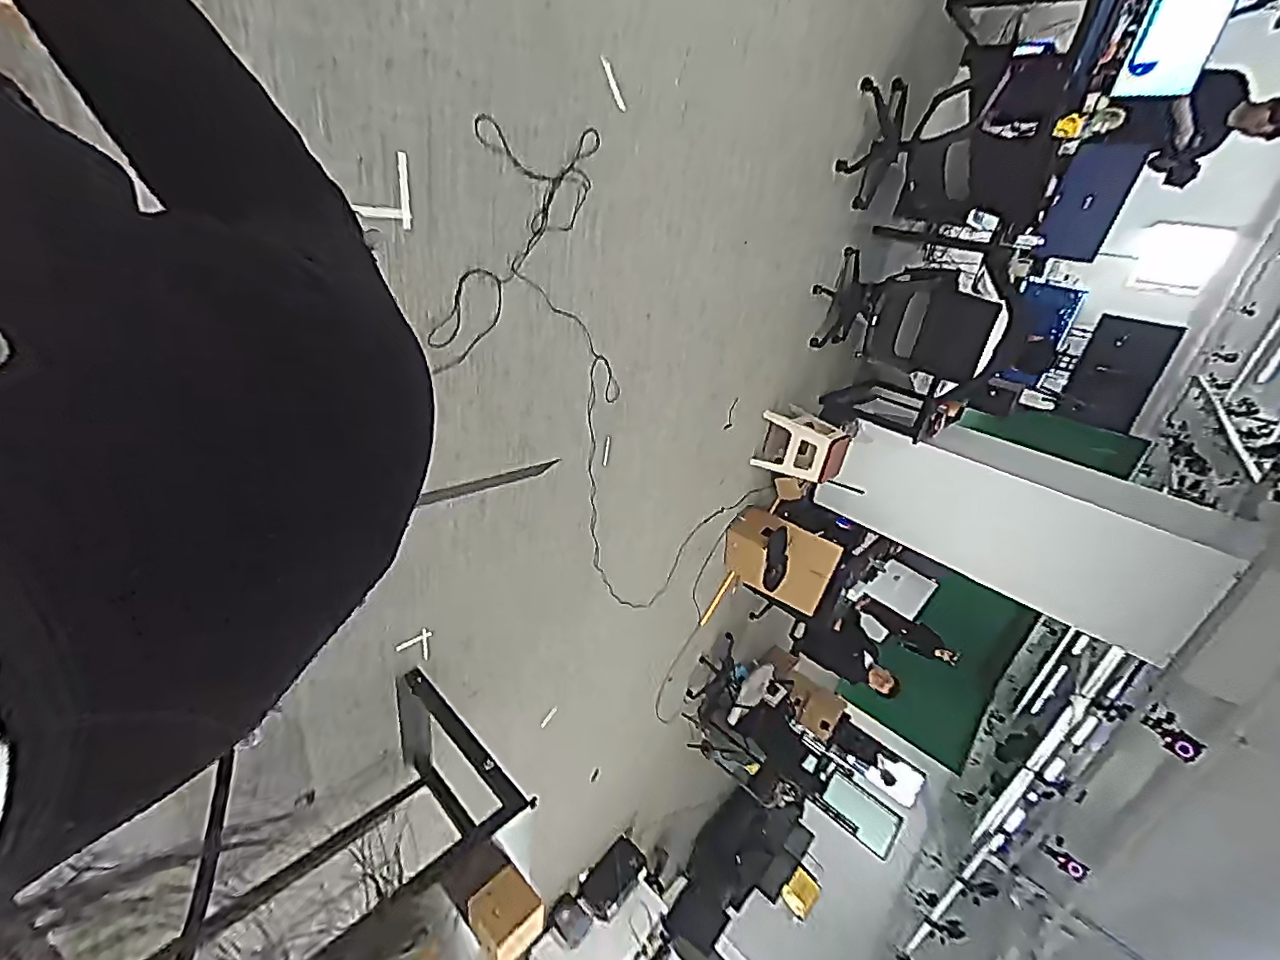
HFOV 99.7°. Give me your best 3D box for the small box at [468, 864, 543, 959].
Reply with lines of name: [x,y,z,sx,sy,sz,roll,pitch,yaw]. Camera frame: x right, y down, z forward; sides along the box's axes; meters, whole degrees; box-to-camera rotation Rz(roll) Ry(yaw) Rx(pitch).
small box: [-0.426,1.362,1.700,0.168,0.176,0.179,-21,131,-42]

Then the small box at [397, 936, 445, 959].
small box: [-0.615,1.427,1.494,0.168,0.176,0.179,-22,130,-44]
